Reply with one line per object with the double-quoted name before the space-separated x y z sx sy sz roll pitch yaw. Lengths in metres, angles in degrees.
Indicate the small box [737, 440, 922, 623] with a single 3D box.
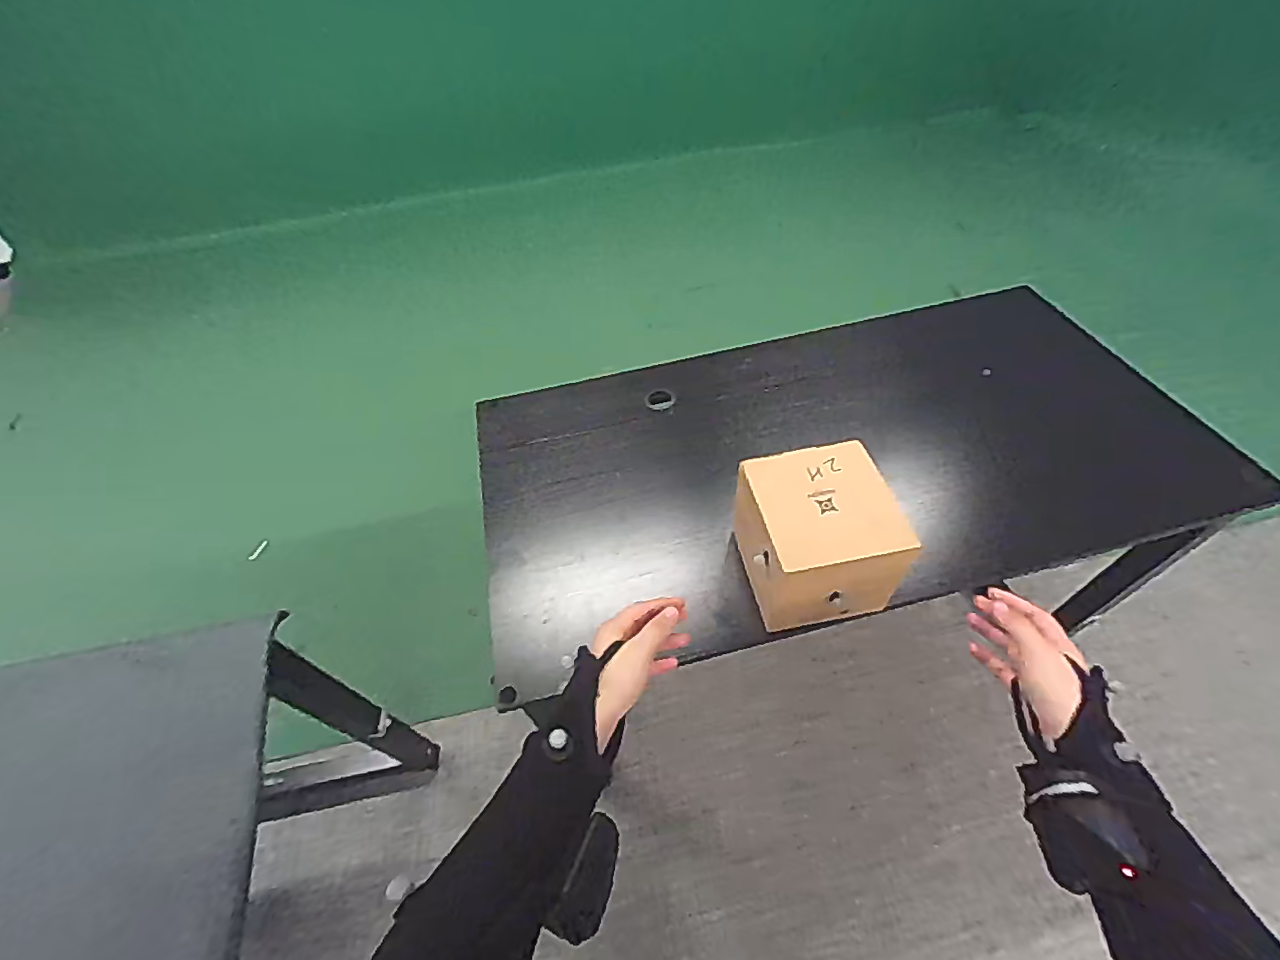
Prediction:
"small box" 0.236 0.076 0.726 0.168 0.176 0.179 -10 51 -4
